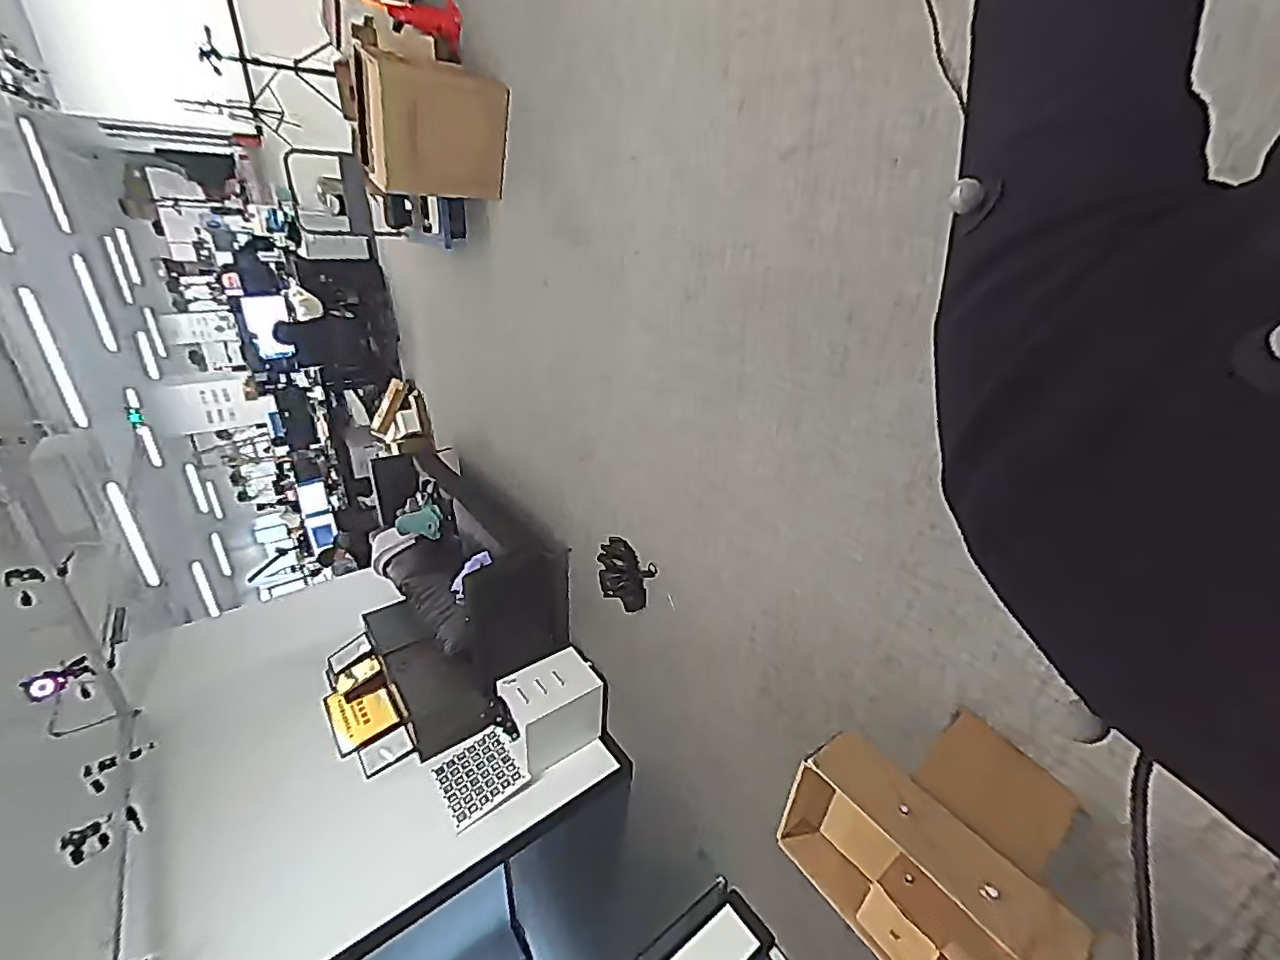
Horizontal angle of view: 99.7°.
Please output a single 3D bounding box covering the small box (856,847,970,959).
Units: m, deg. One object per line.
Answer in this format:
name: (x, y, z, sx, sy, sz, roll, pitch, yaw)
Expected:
small box: (0.657, 1.038, 1.301, 0.168, 0.176, 0.179, 36, 134, 45)
